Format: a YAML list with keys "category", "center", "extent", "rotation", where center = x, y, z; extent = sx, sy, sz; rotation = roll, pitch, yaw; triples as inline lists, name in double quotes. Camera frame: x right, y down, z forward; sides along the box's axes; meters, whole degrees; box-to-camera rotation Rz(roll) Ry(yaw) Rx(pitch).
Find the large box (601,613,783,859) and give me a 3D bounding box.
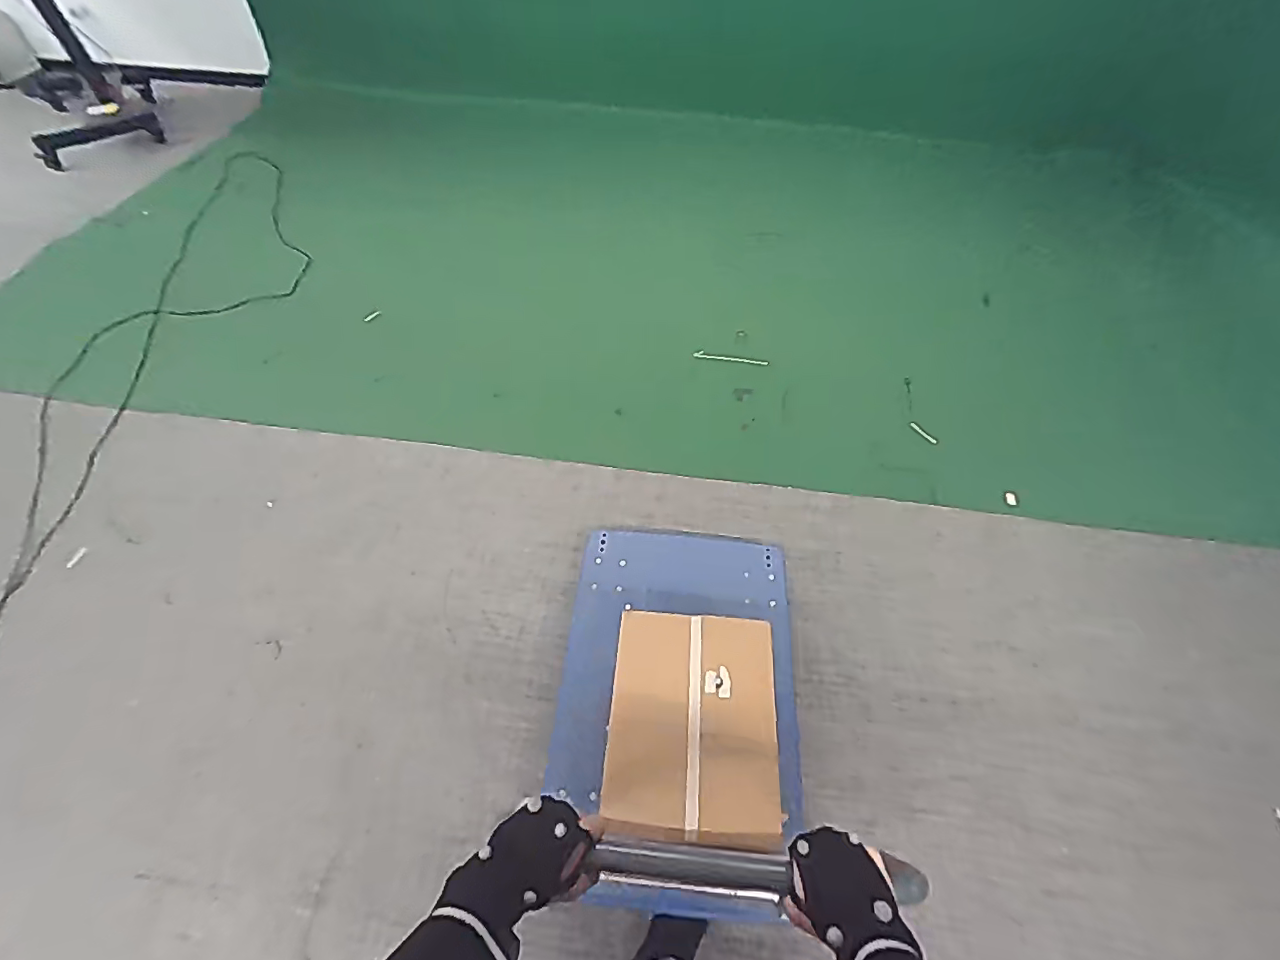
- category: "large box"
  center: [0.101, 0.540, 1.139]
  extent: [0.320, 0.320, 0.408]
  rotation: [5, 53, 3]
